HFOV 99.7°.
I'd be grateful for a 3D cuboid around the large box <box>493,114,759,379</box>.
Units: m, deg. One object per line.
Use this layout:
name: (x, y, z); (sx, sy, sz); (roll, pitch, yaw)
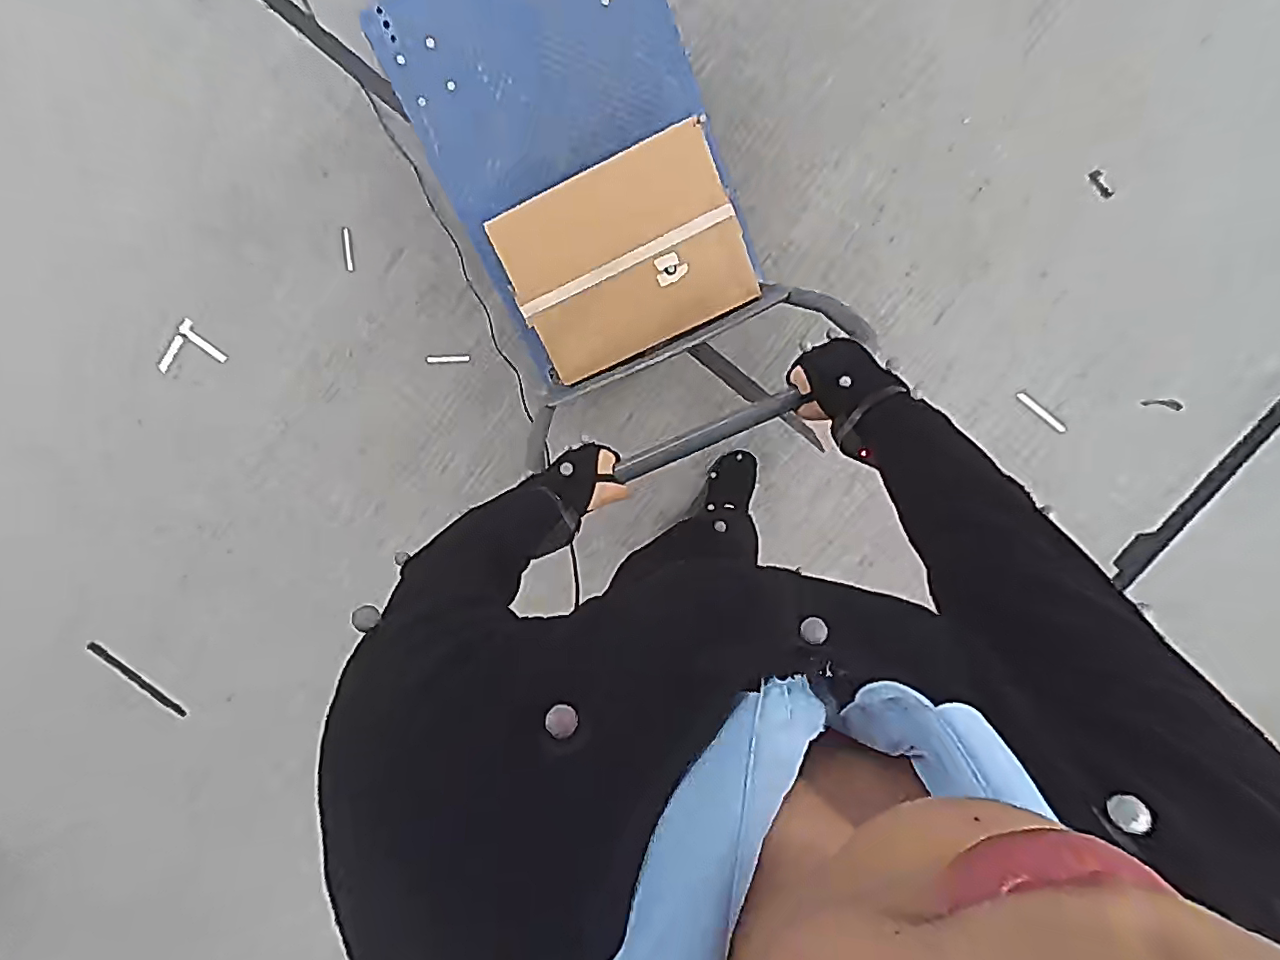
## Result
large box: (-0.027, -0.450, 1.114); (0.408, 0.320, 0.320); (-25, 109, 6)
